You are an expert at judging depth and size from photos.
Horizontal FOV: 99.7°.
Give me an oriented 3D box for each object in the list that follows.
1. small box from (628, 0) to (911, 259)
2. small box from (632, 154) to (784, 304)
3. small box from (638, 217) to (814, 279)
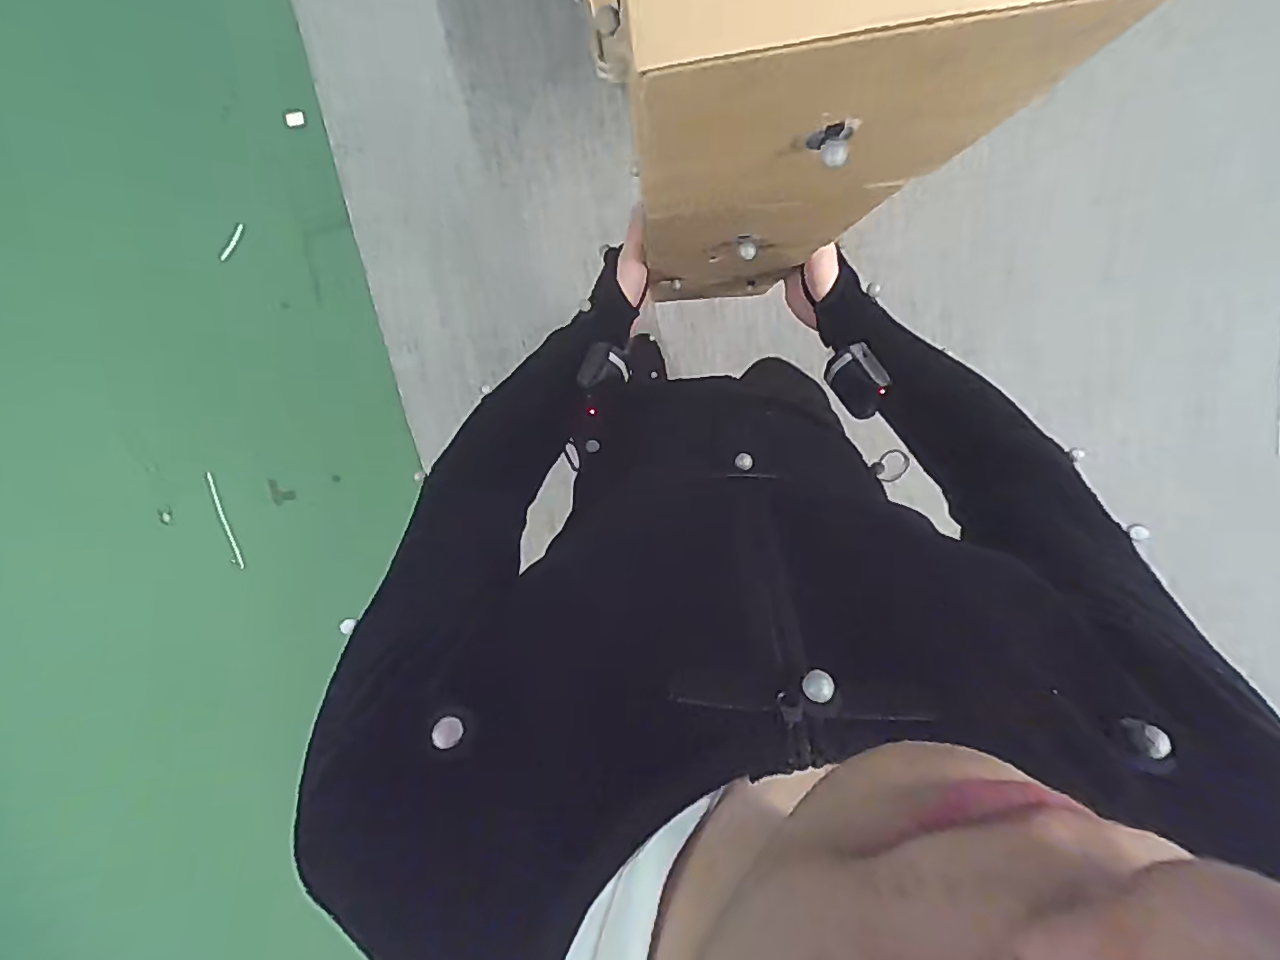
[{"bbox_3d":[0.077,-0.275,0.393,0.168,0.176,0.179,-3,100,3],"label":"small box"},{"bbox_3d":[0.085,-0.333,0.717,0.179,0.176,0.168,-3,100,2],"label":"small box"},{"bbox_3d":[0.082,-0.308,0.555,0.168,0.176,0.179,-1,100,2],"label":"small box"}]
